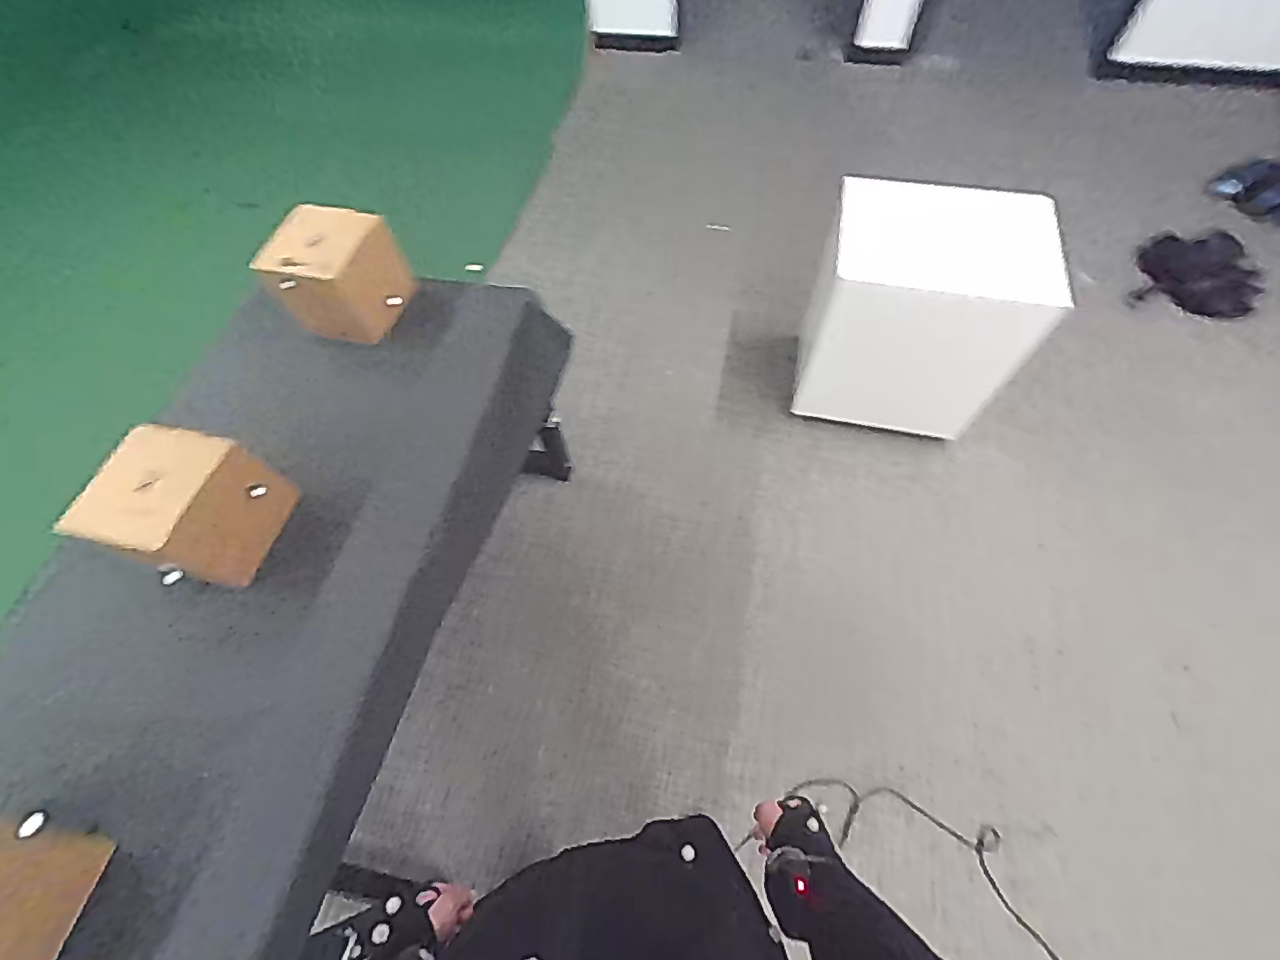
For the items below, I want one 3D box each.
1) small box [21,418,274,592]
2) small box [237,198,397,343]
[{"bbox_3d":[-0.671,0.040,0.771,0.168,0.176,0.179,9,62,6],"label":"small box"},{"bbox_3d":[-0.585,-0.388,1.013,0.168,0.176,0.179,12,61,6],"label":"small box"}]
